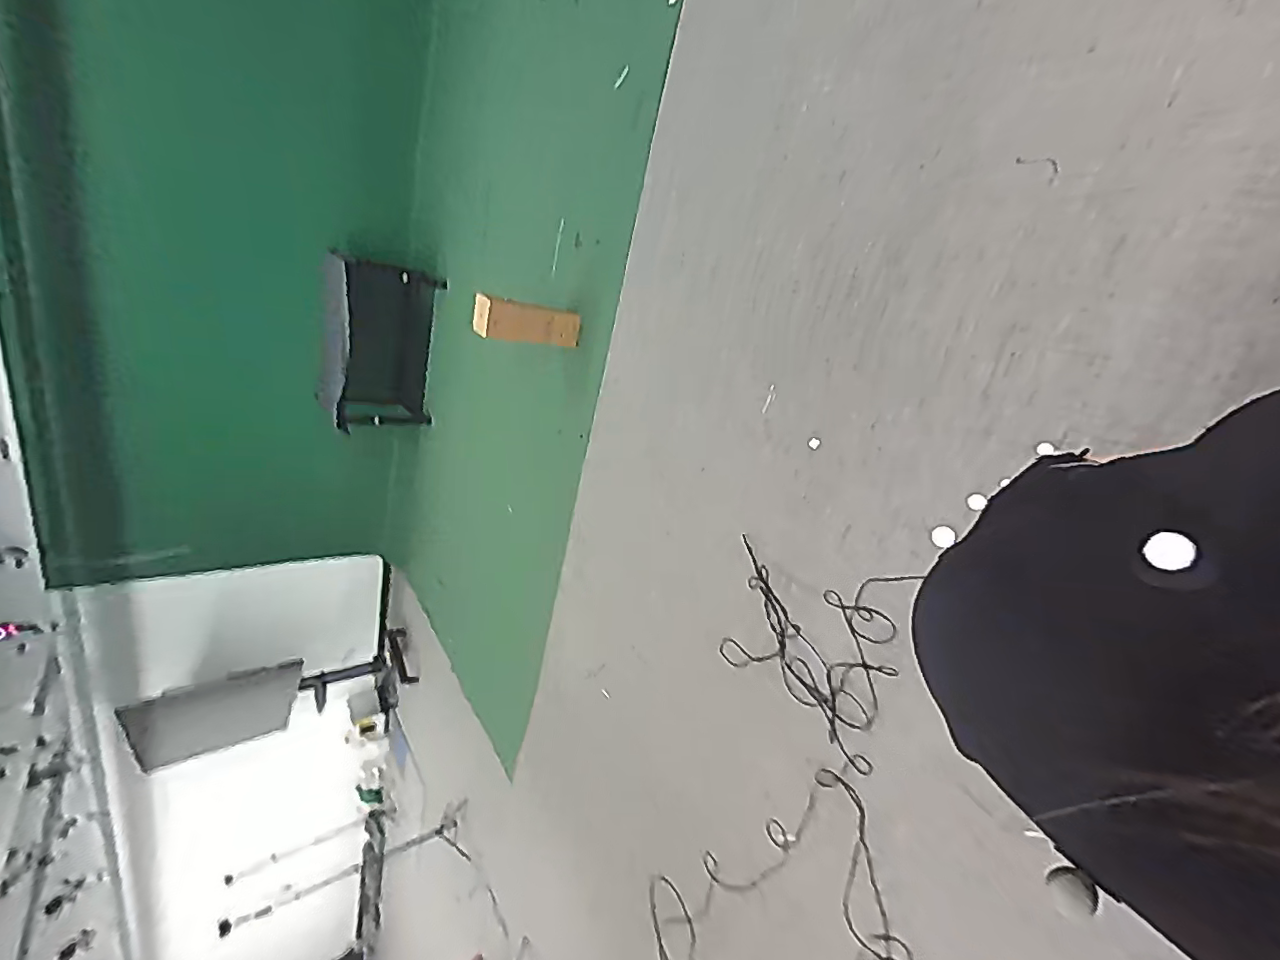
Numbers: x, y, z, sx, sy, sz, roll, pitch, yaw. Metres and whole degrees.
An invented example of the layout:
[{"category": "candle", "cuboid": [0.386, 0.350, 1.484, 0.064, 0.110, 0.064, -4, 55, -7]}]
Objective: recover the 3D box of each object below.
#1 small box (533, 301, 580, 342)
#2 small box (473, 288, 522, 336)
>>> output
[{"category": "small box", "cuboid": [-0.431, -0.820, 2.801, 0.179, 0.176, 0.168, 37, 121, 44]}, {"category": "small box", "cuboid": [-0.683, -0.801, 2.590, 0.168, 0.176, 0.179, 40, 123, 41]}]
